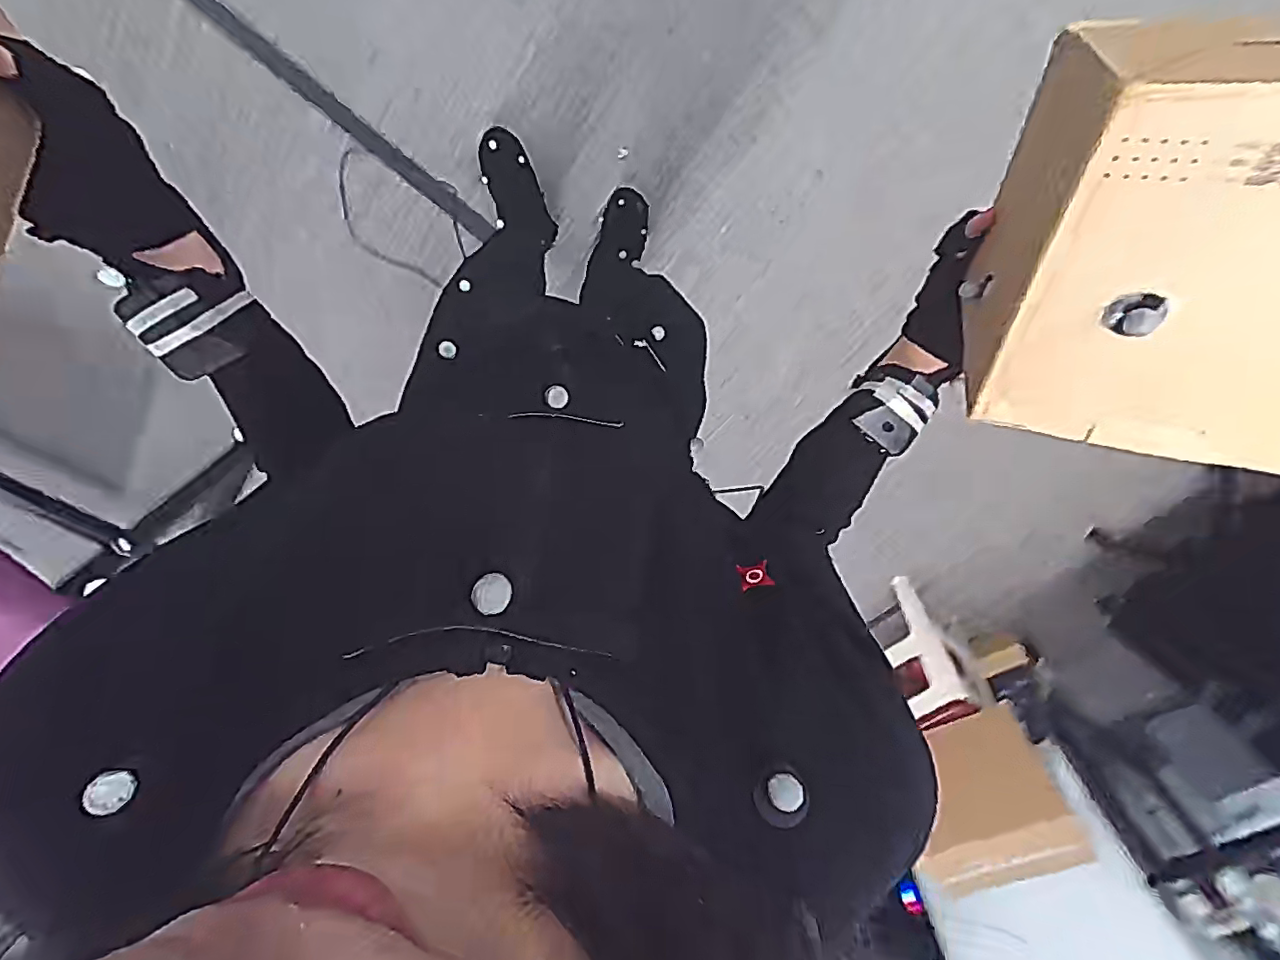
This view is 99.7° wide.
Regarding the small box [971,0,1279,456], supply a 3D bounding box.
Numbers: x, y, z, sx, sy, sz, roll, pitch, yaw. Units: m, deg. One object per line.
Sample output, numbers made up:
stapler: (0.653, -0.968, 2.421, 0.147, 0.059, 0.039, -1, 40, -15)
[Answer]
small box: (0.292, -0.137, 0.275, 0.168, 0.179, 0.176, 14, 139, 17)
